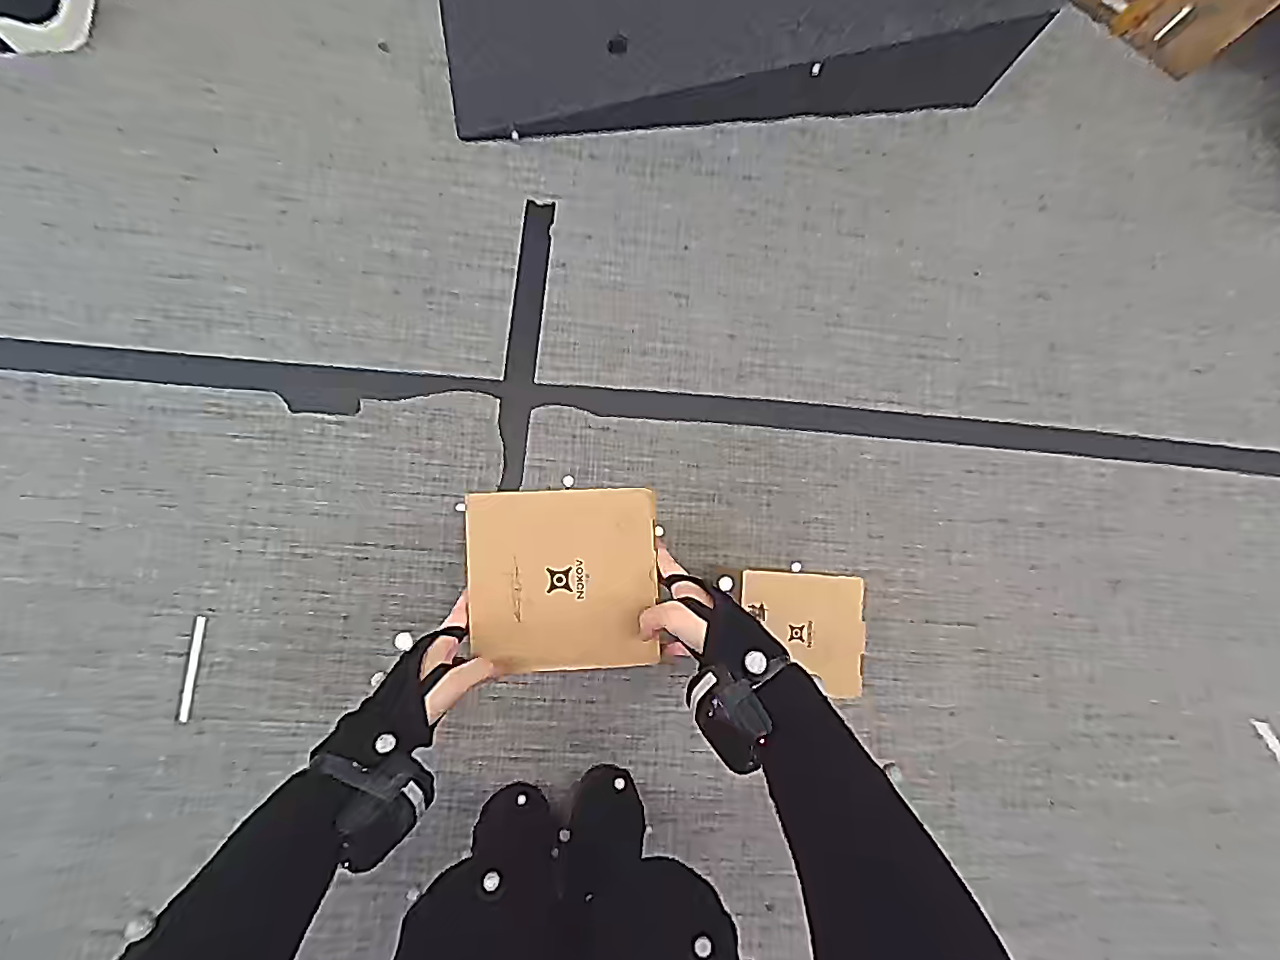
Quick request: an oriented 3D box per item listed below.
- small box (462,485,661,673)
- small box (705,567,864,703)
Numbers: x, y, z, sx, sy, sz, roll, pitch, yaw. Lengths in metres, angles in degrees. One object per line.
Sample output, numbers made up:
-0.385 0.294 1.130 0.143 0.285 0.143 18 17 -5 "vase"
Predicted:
-0.075 0.088 0.557 0.179 0.176 0.168 -1 88 -3 "small box"
0.207 0.221 0.805 0.179 0.176 0.168 5 82 -6 "small box"
